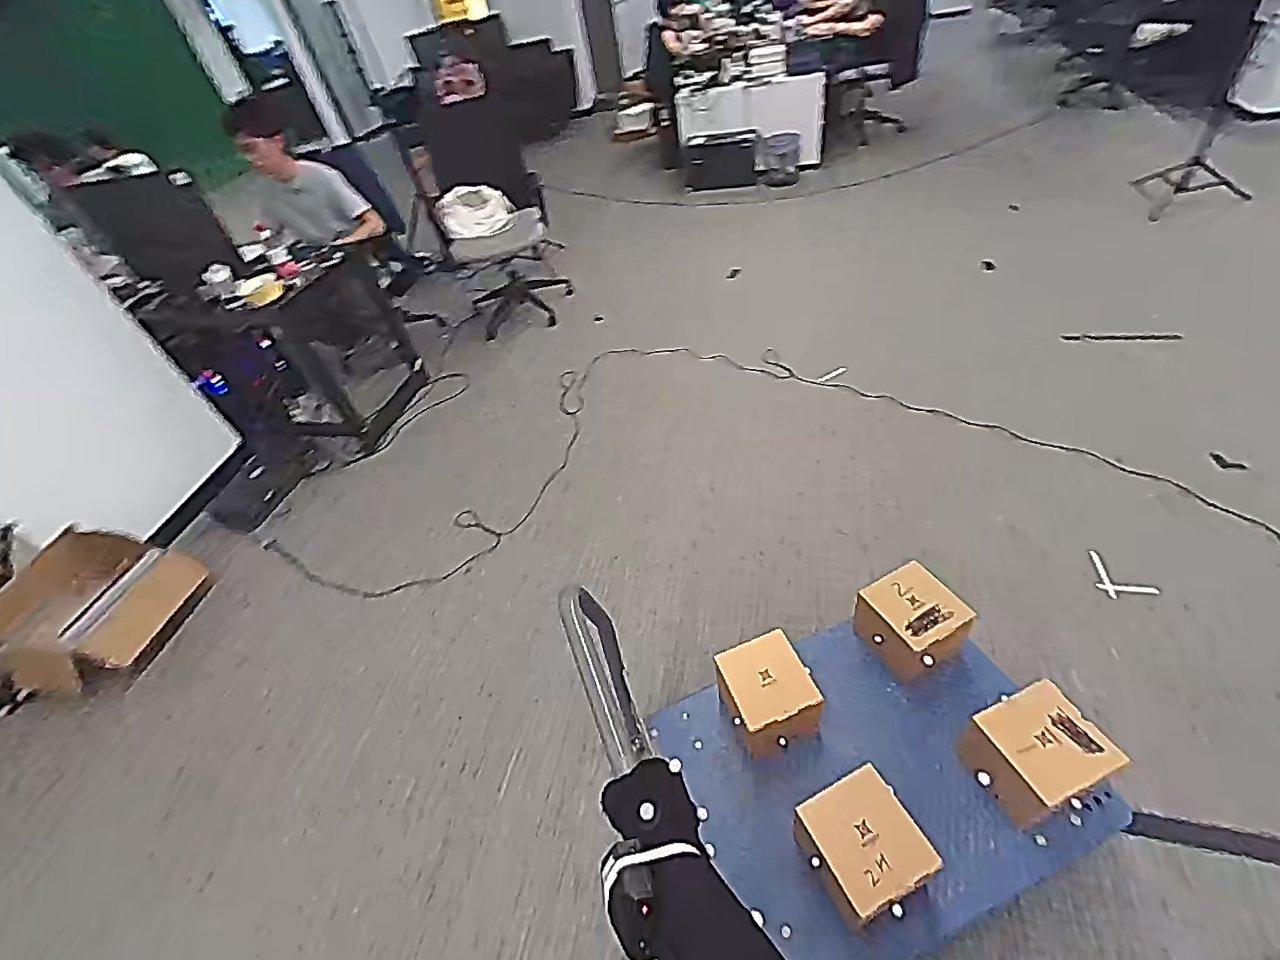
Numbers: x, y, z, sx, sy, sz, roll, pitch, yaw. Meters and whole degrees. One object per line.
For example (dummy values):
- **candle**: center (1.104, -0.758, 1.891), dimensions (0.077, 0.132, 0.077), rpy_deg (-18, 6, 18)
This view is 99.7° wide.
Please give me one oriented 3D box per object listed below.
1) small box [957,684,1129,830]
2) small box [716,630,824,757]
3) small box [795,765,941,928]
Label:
- **small box**: center (0.741, 0.523, 1.020), dimensions (0.179, 0.176, 0.168), rpy_deg (-22, 45, -7)
- **small box**: center (0.278, 0.469, 1.186), dimensions (0.168, 0.176, 0.179), rpy_deg (-21, 46, -7)
- **small box**: center (0.393, 0.658, 0.970), dimensions (0.168, 0.176, 0.179), rpy_deg (-24, 45, -10)
